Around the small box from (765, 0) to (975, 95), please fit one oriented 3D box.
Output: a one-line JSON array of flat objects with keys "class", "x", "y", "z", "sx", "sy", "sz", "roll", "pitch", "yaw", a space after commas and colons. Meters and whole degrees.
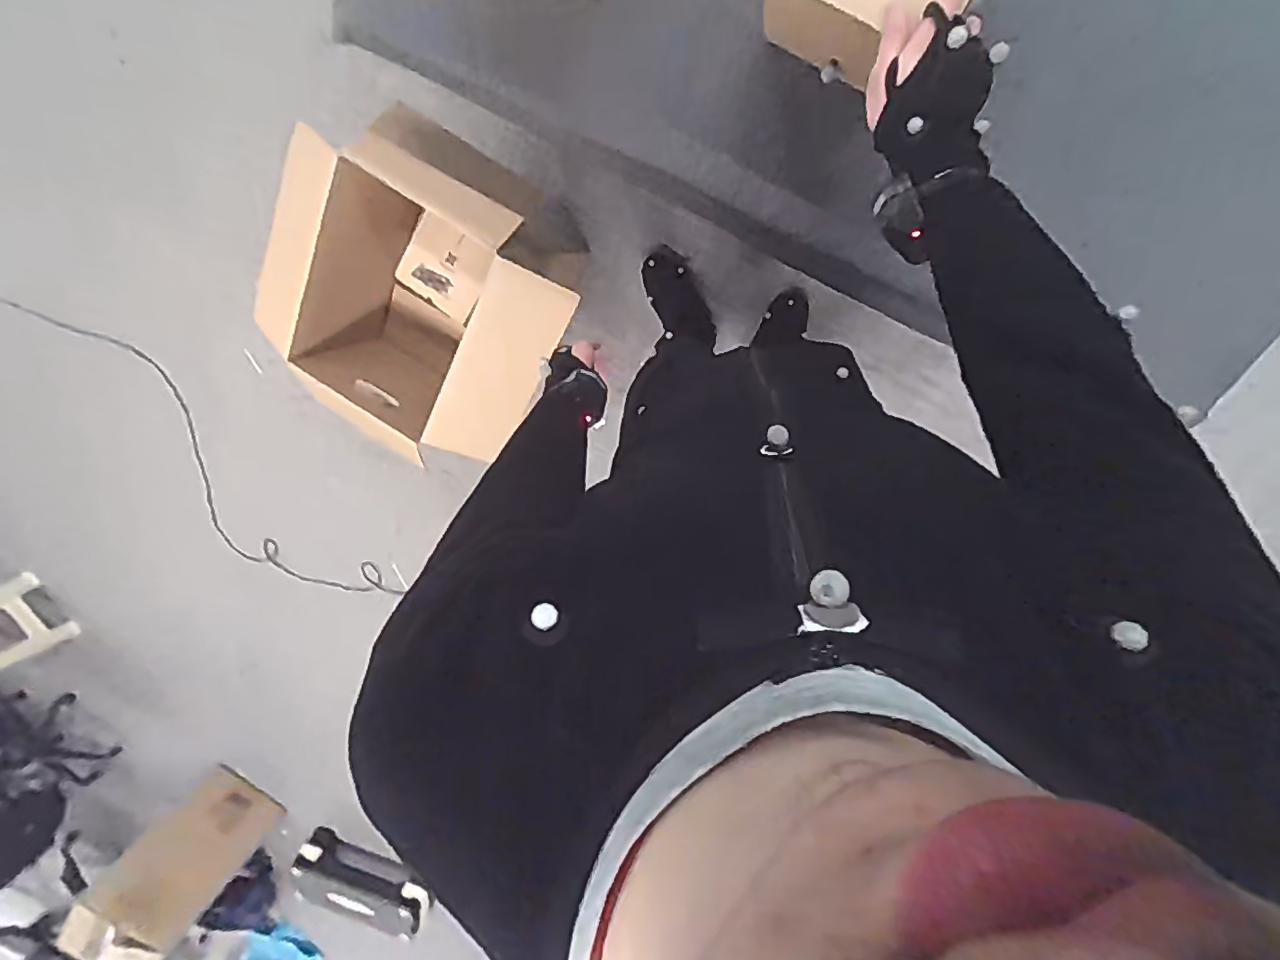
[{"class": "small box", "x": 0.236, "y": -0.504, "z": 0.514, "sx": 0.179, "sy": 0.176, "sz": 0.168, "roll": 29, "pitch": 114, "yaw": -1}]
